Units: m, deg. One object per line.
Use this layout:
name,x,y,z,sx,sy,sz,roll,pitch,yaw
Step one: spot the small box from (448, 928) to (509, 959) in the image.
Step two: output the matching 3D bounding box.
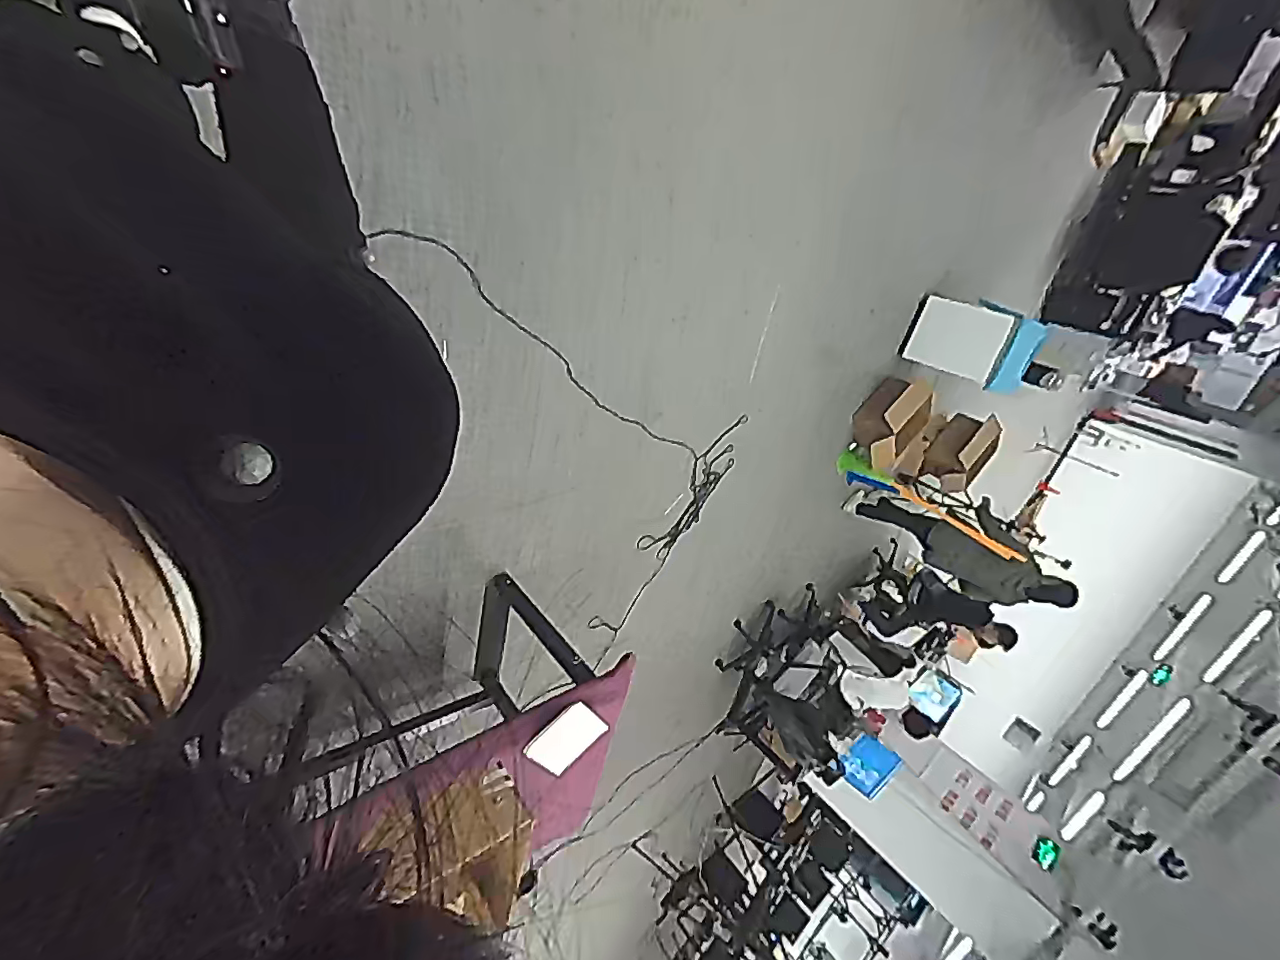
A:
small box,-0.401,1.243,1.290,0.179,0.176,0.168,-12,125,-42
